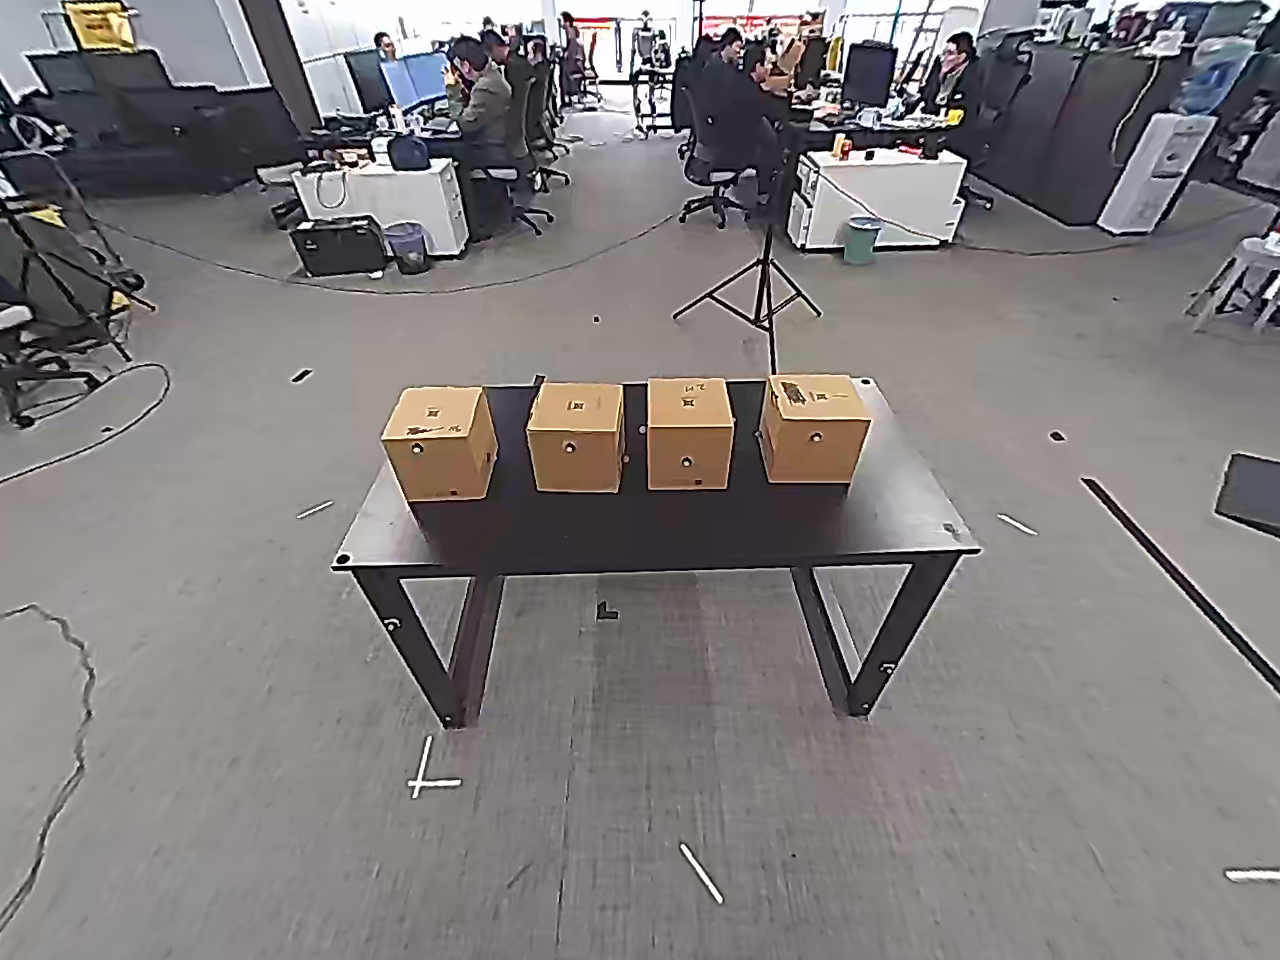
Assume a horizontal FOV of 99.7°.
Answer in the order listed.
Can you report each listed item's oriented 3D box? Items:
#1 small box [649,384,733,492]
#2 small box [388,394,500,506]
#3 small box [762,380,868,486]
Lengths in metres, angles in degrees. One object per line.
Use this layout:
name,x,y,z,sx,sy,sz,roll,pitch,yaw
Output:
small box,0.102,-0.088,1.158,0.168,0.176,0.179,0,42,1
small box,-0.402,-0.064,1.146,0.168,0.176,0.179,-2,42,-1
small box,0.363,-0.100,1.164,0.179,0.176,0.168,0,42,1
